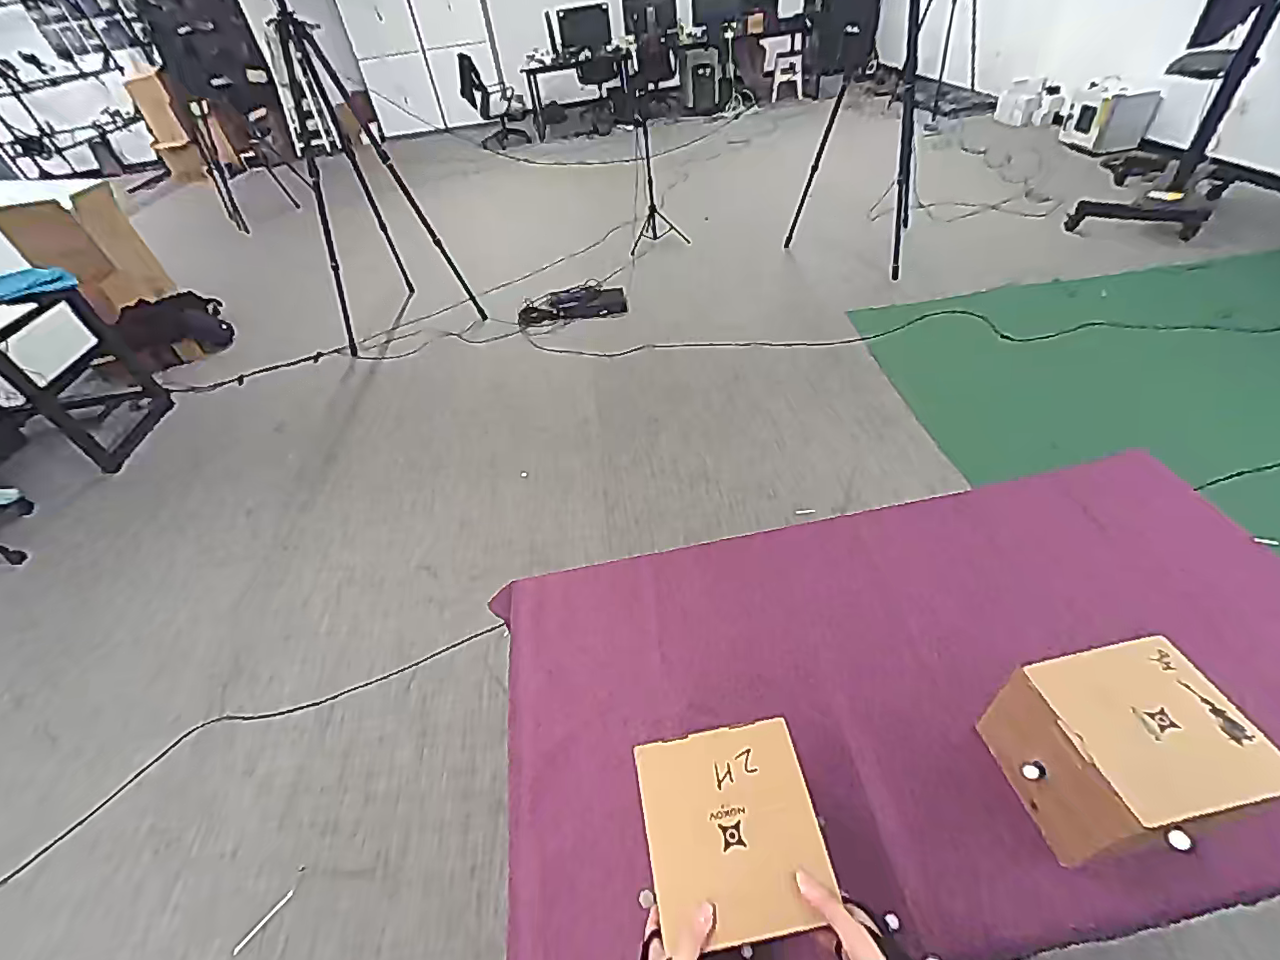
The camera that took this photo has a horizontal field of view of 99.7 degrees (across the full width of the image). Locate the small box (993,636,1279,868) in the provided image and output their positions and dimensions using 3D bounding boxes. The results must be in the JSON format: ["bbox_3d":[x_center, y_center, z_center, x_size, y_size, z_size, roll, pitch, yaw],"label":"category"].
[{"bbox_3d":[0.534,0.306,0.606,0.179,0.176,0.168,-12,43,-2],"label":"small box"}]

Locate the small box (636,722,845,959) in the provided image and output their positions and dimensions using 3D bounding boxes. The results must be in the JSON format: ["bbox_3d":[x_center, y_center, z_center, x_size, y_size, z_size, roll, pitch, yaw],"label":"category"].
[{"bbox_3d":[0.096,0.385,0.582,0.168,0.176,0.179,-10,51,-2],"label":"small box"}]
